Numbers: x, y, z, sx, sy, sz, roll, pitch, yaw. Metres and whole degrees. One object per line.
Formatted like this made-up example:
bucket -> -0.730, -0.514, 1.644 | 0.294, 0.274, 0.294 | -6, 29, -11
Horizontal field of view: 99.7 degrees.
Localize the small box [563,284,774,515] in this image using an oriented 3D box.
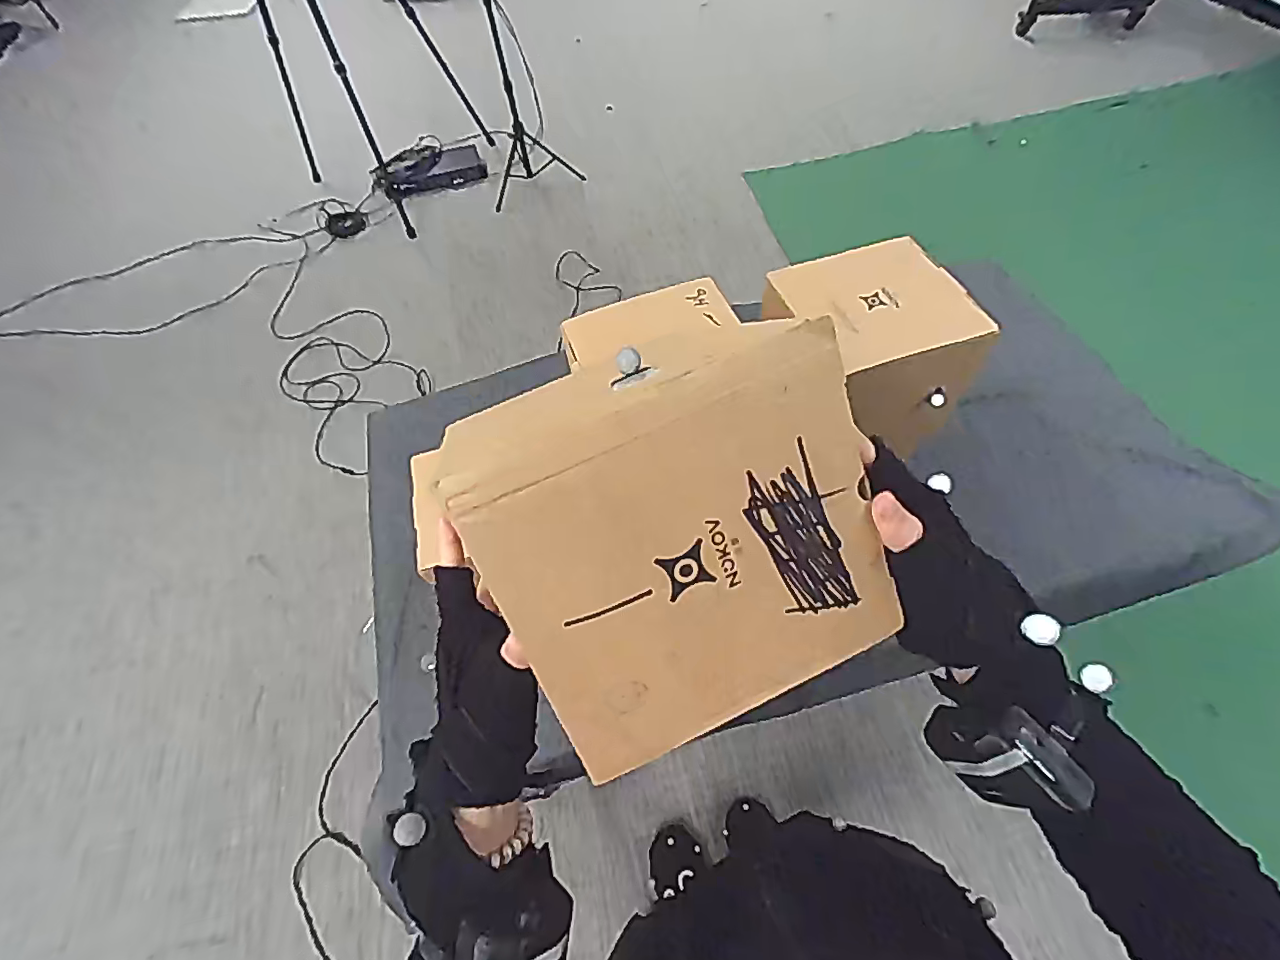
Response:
small box -> 0.031, -0.083, 0.615 | 0.179, 0.176, 0.168 | -20, 60, -6
